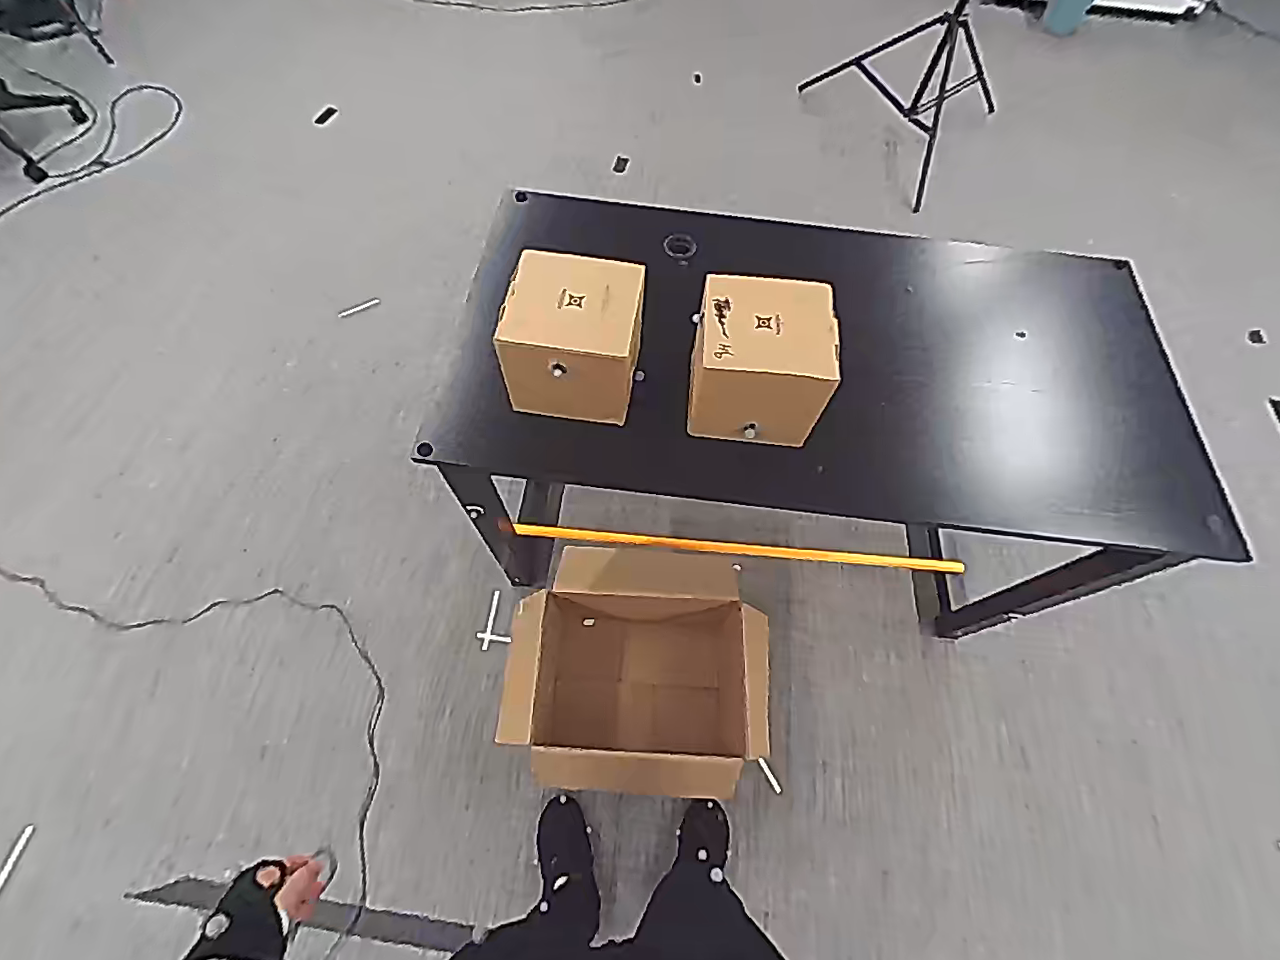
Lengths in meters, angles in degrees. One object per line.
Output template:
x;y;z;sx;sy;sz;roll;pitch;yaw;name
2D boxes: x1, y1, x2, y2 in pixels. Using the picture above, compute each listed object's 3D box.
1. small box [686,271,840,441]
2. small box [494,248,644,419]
0.168;-0.171;0.782;0.179;0.176;0.168;6;63;0;small box
-0.093;-0.205;0.787;0.179;0.176;0.168;8;65;0;small box
